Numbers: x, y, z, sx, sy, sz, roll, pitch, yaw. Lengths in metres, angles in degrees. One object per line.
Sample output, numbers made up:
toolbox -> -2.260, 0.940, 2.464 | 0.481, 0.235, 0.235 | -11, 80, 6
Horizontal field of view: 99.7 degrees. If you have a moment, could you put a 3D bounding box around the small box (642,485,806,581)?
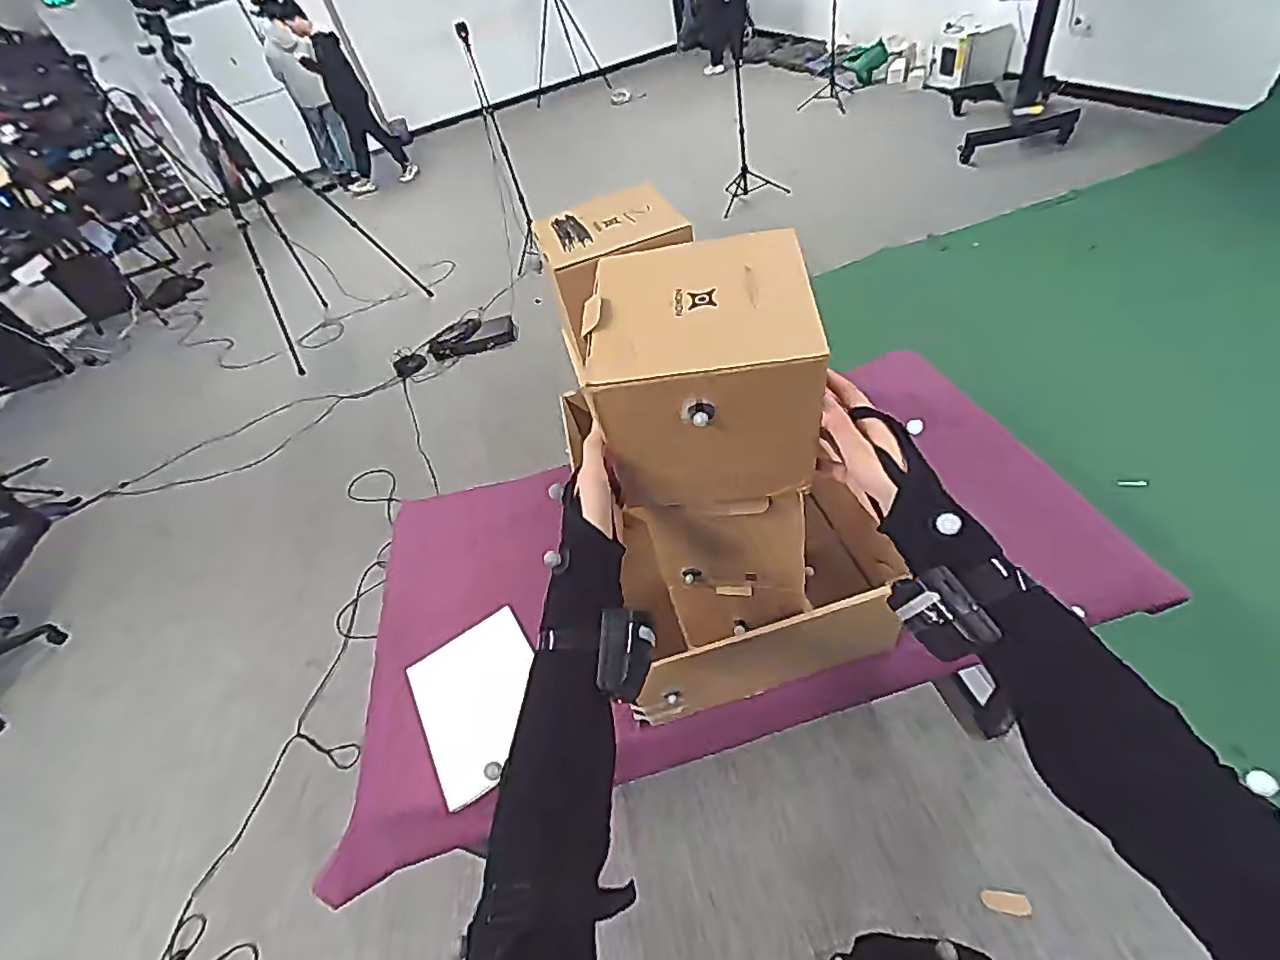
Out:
small box -> 0.111, 0.010, 0.659 | 0.168, 0.176, 0.179 | -4, 45, 16

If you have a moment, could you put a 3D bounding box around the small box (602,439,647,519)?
small box -> 0.029, -0.050, 0.979 | 0.168, 0.176, 0.179 | -17, 47, 0

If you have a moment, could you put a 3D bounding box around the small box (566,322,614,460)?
small box -> 0.001, -0.156, 0.860 | 0.179, 0.176, 0.168 | -19, 47, -2

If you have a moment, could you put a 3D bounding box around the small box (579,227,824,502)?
small box -> 0.059, -0.093, 0.485 | 0.179, 0.176, 0.168 | -5, 54, 10
